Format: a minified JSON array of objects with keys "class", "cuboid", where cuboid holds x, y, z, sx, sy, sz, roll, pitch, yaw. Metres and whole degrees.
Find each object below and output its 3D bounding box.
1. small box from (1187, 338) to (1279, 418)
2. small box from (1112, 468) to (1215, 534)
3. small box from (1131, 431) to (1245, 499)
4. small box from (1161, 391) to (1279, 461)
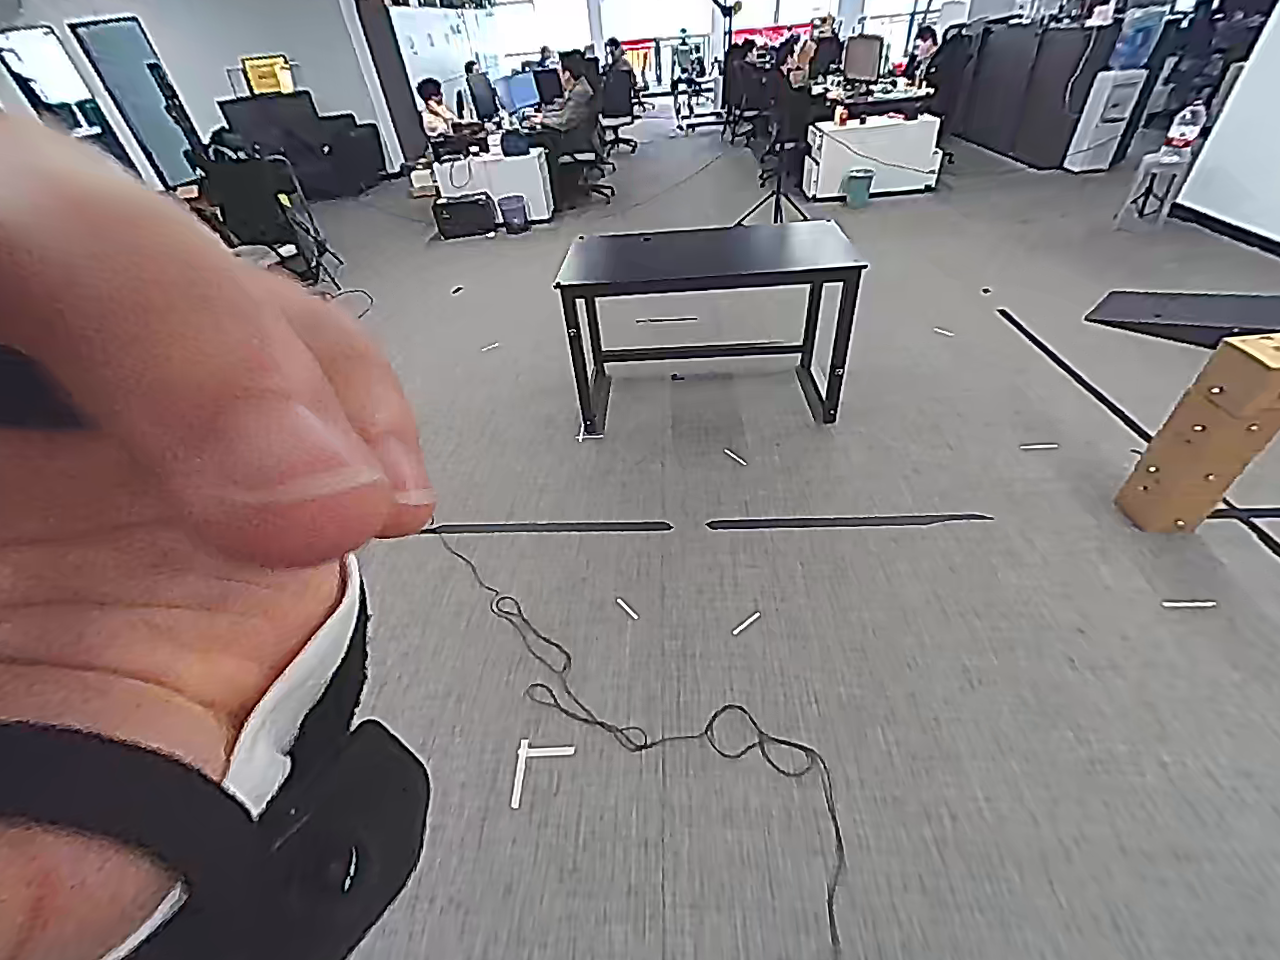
[{"class":"small box","cuboid":[1.788,-0.292,1.582,0.168,0.176,0.179,-3,42,4]},{"class":"small box","cuboid":[1.830,0.073,1.906,0.168,0.176,0.179,-3,41,5]},{"class":"small box","cuboid":[1.810,-0.049,1.798,0.179,0.176,0.168,-3,40,6]},{"class":"small box","cuboid":[1.799,-0.170,1.691,0.179,0.176,0.168,-2,42,4]}]
